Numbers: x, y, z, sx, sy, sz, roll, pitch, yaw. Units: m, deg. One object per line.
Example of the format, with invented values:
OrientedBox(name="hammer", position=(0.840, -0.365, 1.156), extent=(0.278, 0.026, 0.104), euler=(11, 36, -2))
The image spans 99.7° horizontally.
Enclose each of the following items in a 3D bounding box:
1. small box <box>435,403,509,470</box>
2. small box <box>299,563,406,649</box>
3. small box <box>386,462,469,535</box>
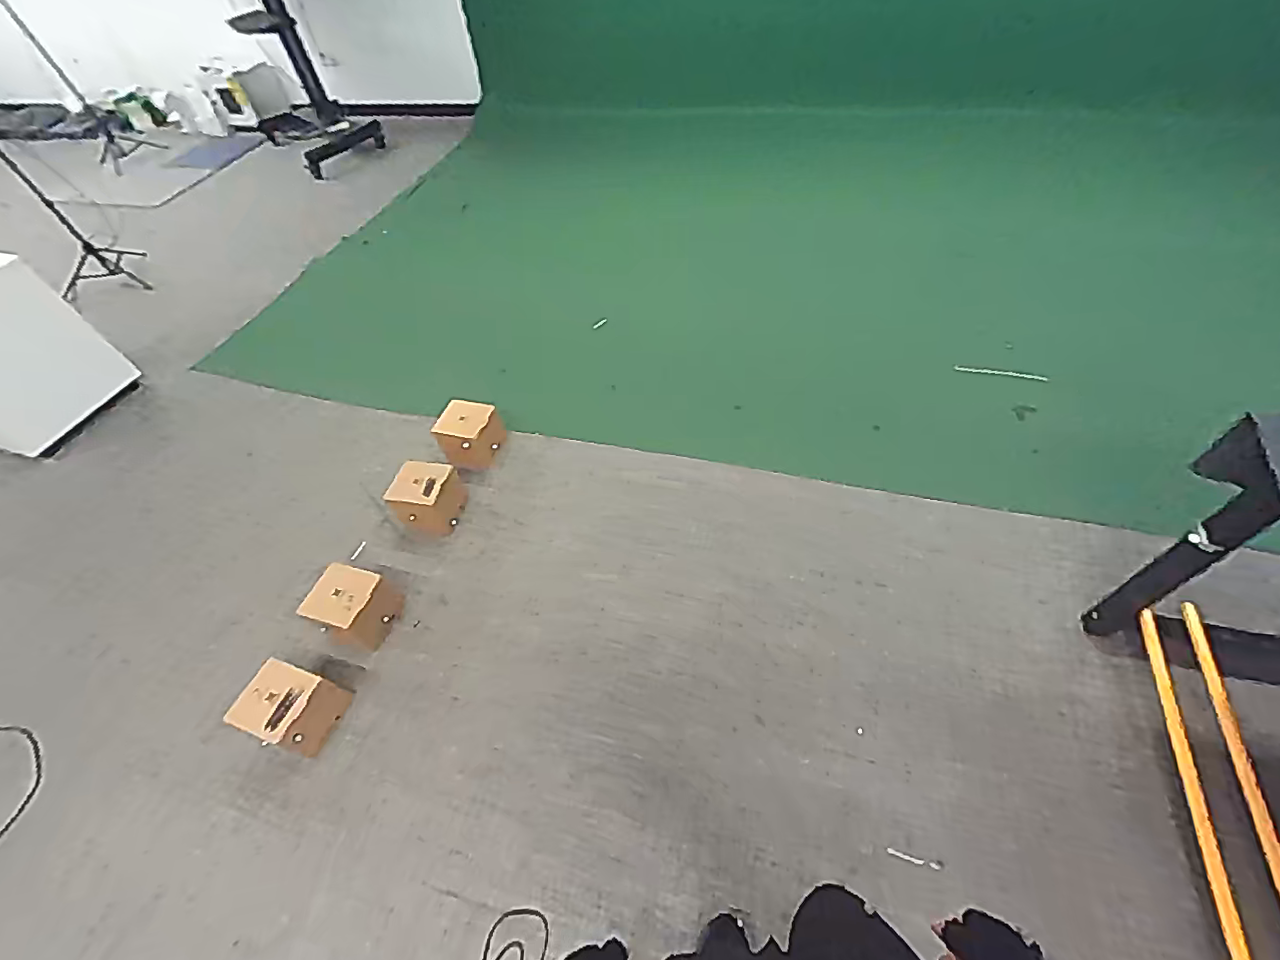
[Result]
OrientedBox(name="small box", position=(-0.604, -0.155, 1.962), extent=(0.179, 0.176, 0.168), euler=(10, 53, 13))
OrientedBox(name="small box", position=(-0.816, 0.366, 1.554), extent=(0.179, 0.176, 0.168), euler=(12, 54, 14))
OrientedBox(name="small box", position=(-0.693, 0.064, 1.790), extent=(0.179, 0.176, 0.168), euler=(6, 52, 12))
